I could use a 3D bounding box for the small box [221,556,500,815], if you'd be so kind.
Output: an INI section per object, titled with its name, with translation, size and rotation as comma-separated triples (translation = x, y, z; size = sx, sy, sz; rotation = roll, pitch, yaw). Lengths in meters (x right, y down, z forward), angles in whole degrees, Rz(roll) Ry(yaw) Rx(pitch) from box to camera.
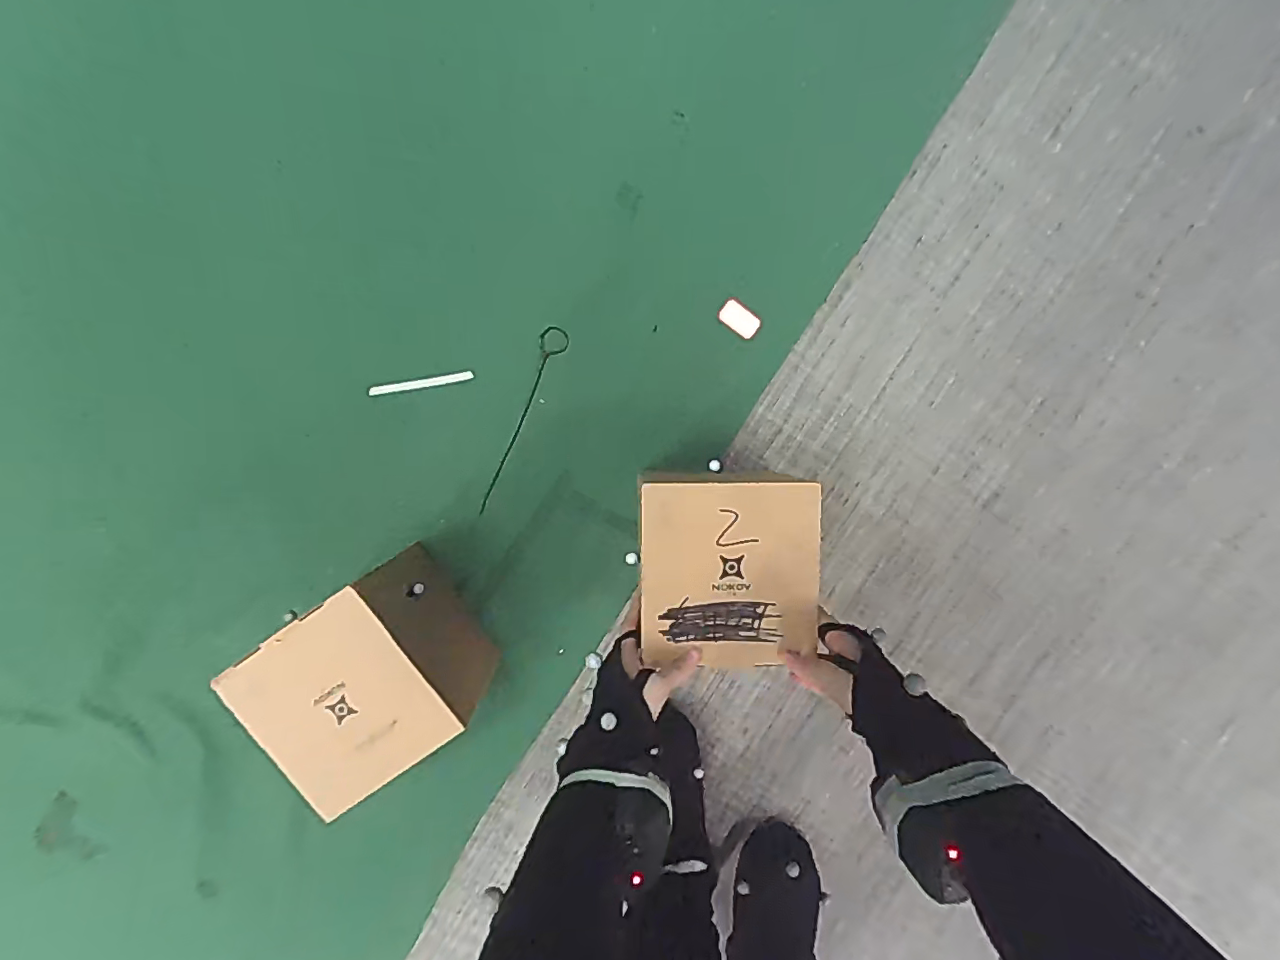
[small box]
translation = -0.280, 0.199, 0.587
size = 0.168, 0.176, 0.179
rotation = -34, 97, 2
